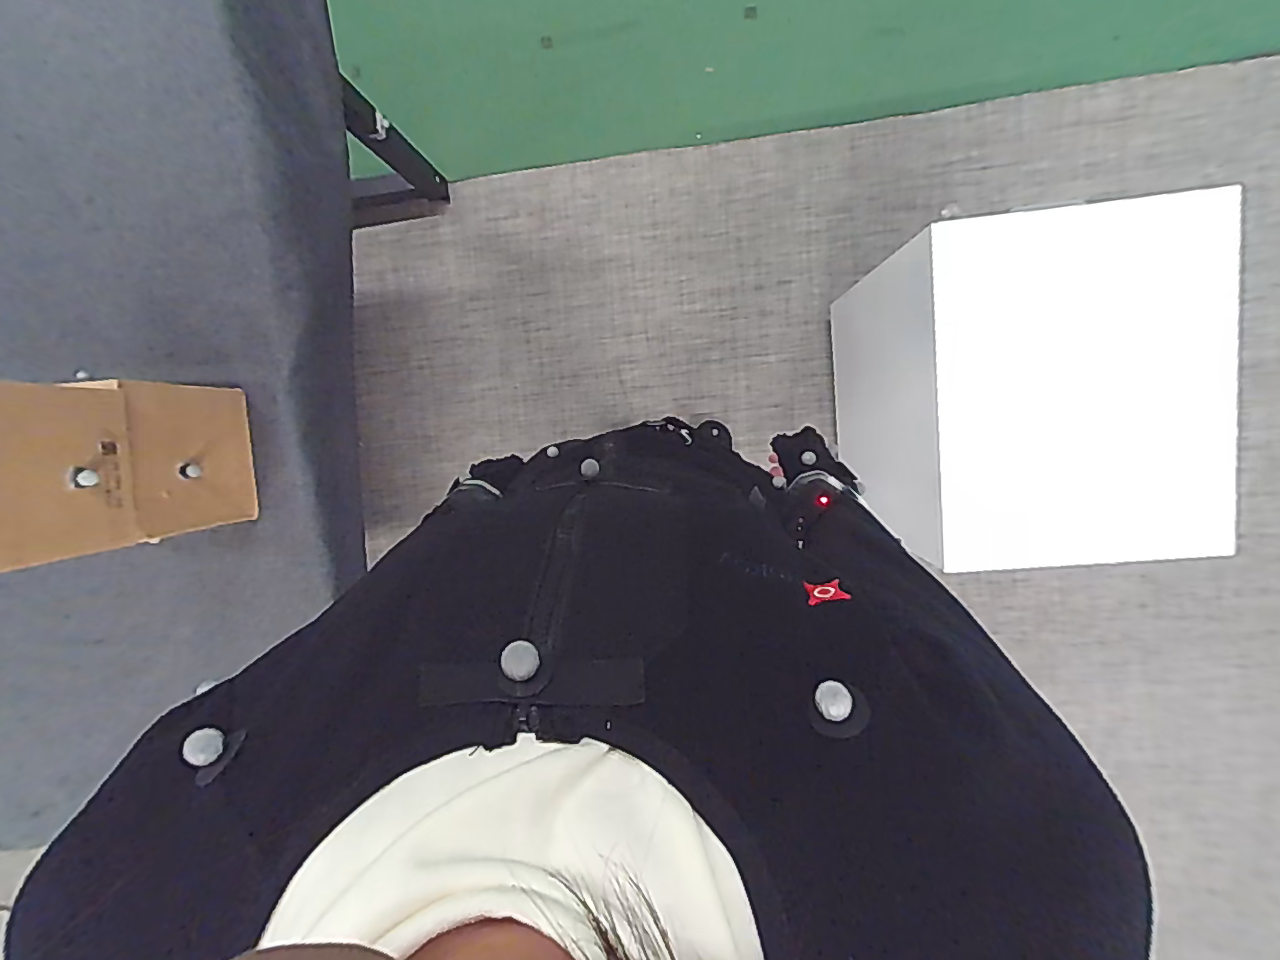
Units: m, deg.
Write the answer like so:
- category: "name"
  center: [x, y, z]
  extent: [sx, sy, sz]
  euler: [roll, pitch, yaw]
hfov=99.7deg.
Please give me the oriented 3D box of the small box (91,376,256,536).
- category: "small box"
  center: [-0.616, -0.033, 0.667]
  extent: [0.168, 0.176, 0.179]
  euler: [-2, 97, 6]
